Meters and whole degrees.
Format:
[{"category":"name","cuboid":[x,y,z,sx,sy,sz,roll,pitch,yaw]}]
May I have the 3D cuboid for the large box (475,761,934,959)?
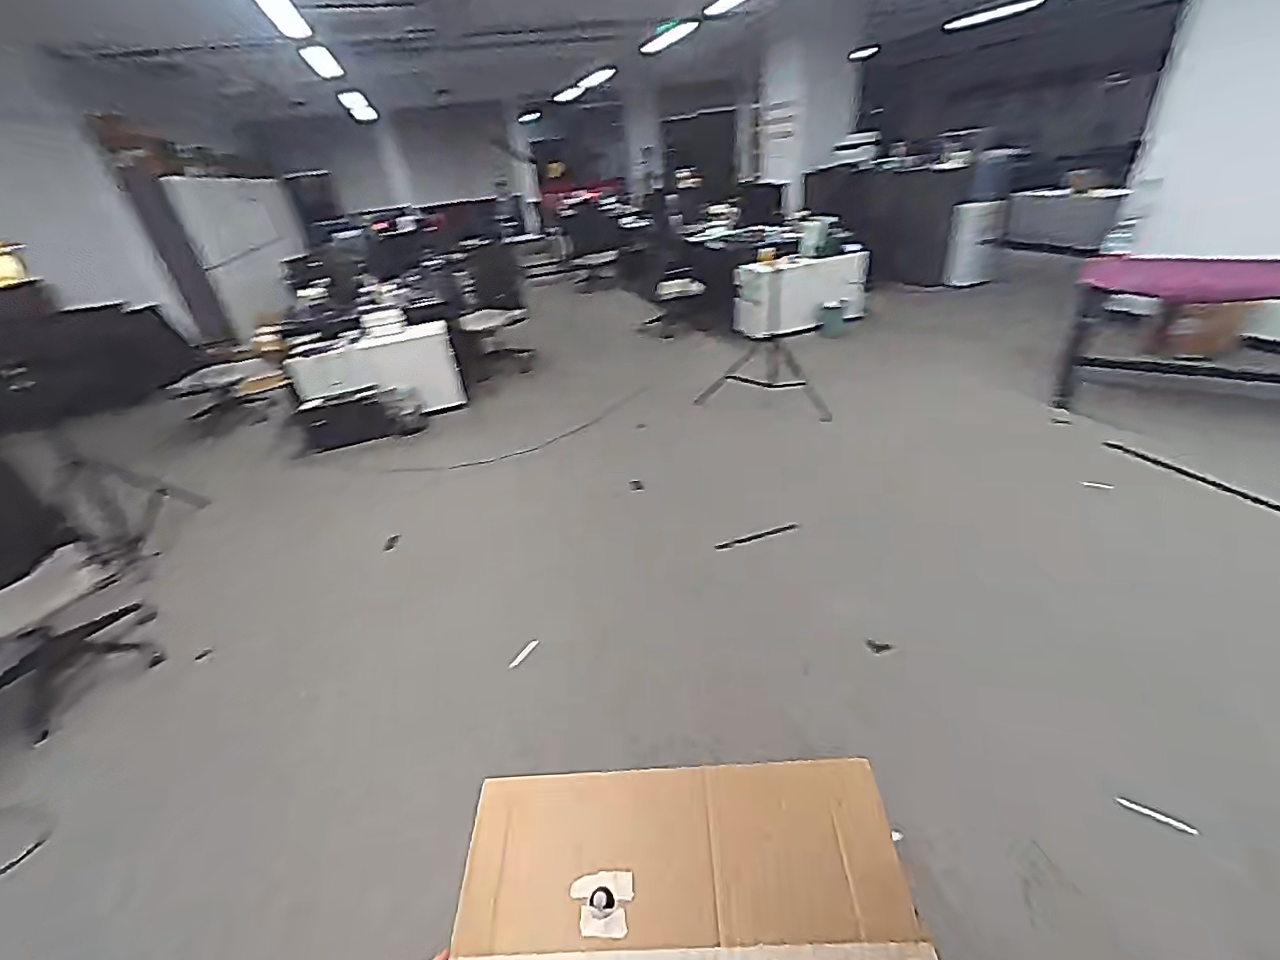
[{"category":"large box","cuboid":[0.070,0.523,0.563,0.408,0.320,0.320,-6,41,6]}]
